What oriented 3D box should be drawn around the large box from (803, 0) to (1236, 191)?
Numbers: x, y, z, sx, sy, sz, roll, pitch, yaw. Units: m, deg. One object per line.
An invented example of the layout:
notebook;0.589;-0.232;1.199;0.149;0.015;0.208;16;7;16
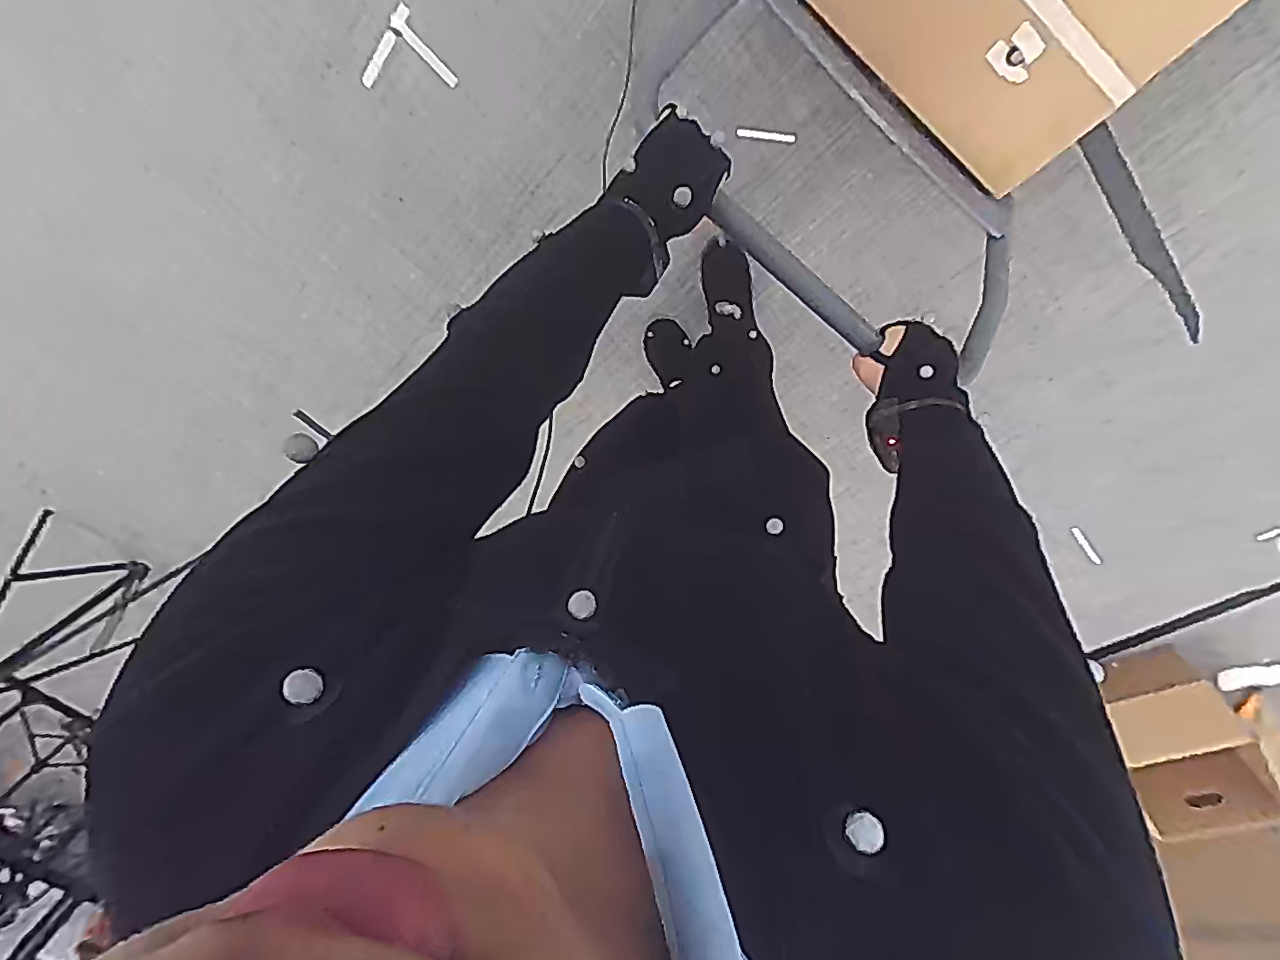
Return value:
large box;0.484;-0.694;0.712;0.408;0.320;0.320;35;143;-13
